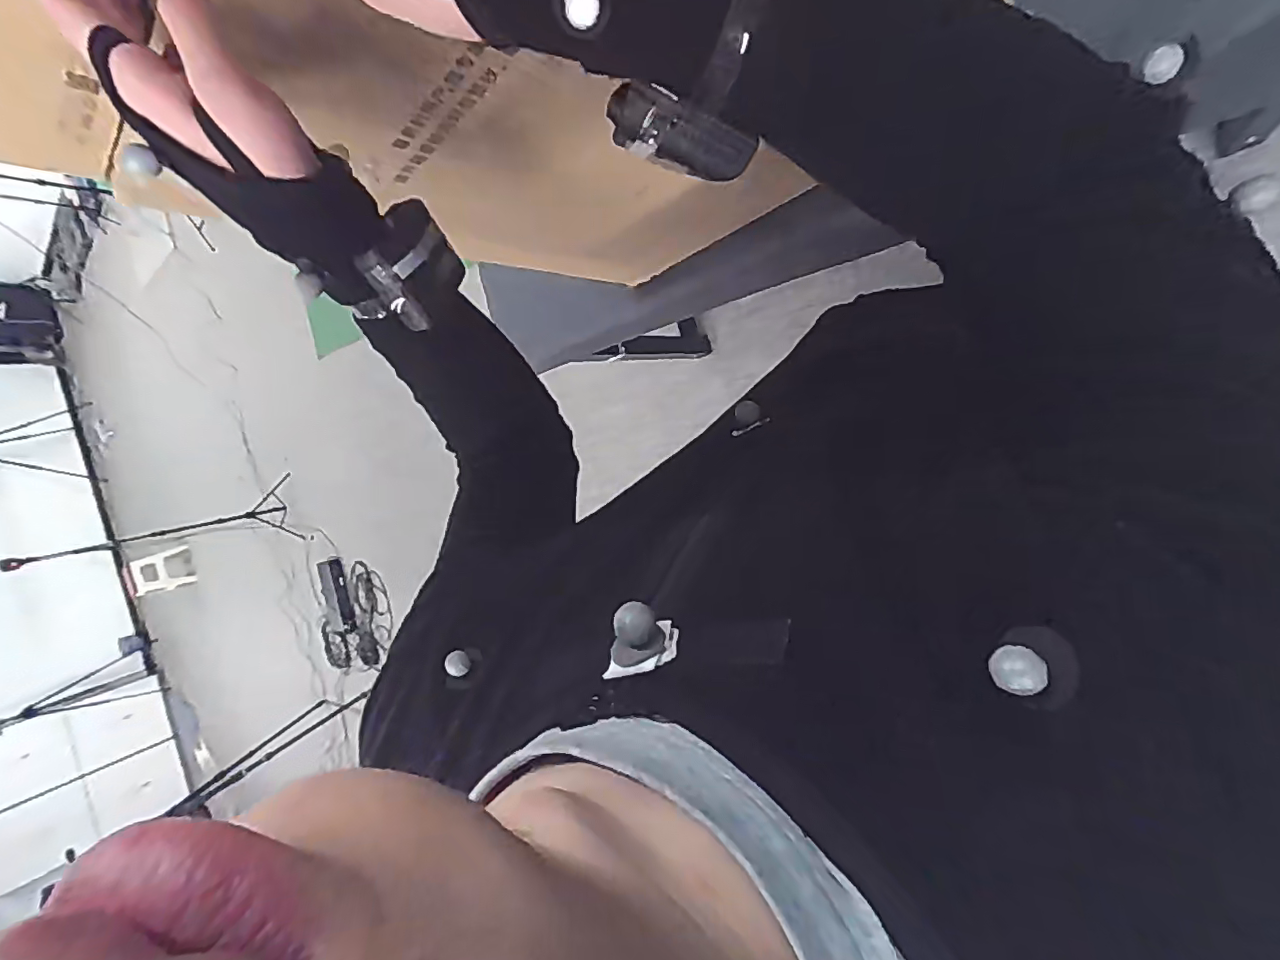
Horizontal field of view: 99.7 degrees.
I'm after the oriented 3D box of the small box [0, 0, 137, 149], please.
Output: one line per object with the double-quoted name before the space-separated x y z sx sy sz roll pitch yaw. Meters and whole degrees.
"small box" -0.399 -0.303 0.277 0.168 0.176 0.179 -13 94 39
